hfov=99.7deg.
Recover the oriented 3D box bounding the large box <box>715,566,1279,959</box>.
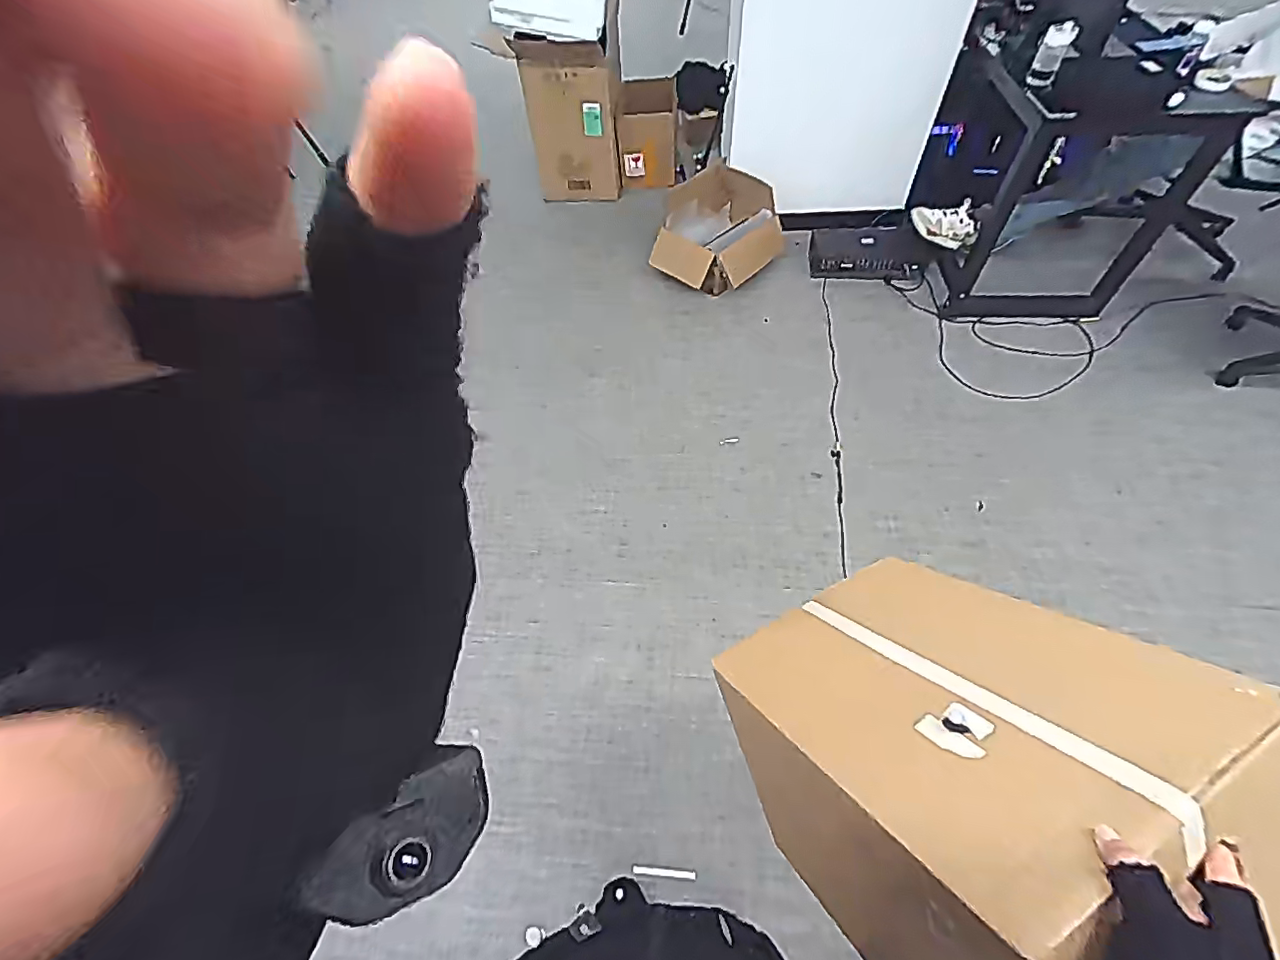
[{"bbox_3d":[0.343,0.340,0.589,0.320,0.320,0.408,-24,15,-16],"label":"large box"}]
